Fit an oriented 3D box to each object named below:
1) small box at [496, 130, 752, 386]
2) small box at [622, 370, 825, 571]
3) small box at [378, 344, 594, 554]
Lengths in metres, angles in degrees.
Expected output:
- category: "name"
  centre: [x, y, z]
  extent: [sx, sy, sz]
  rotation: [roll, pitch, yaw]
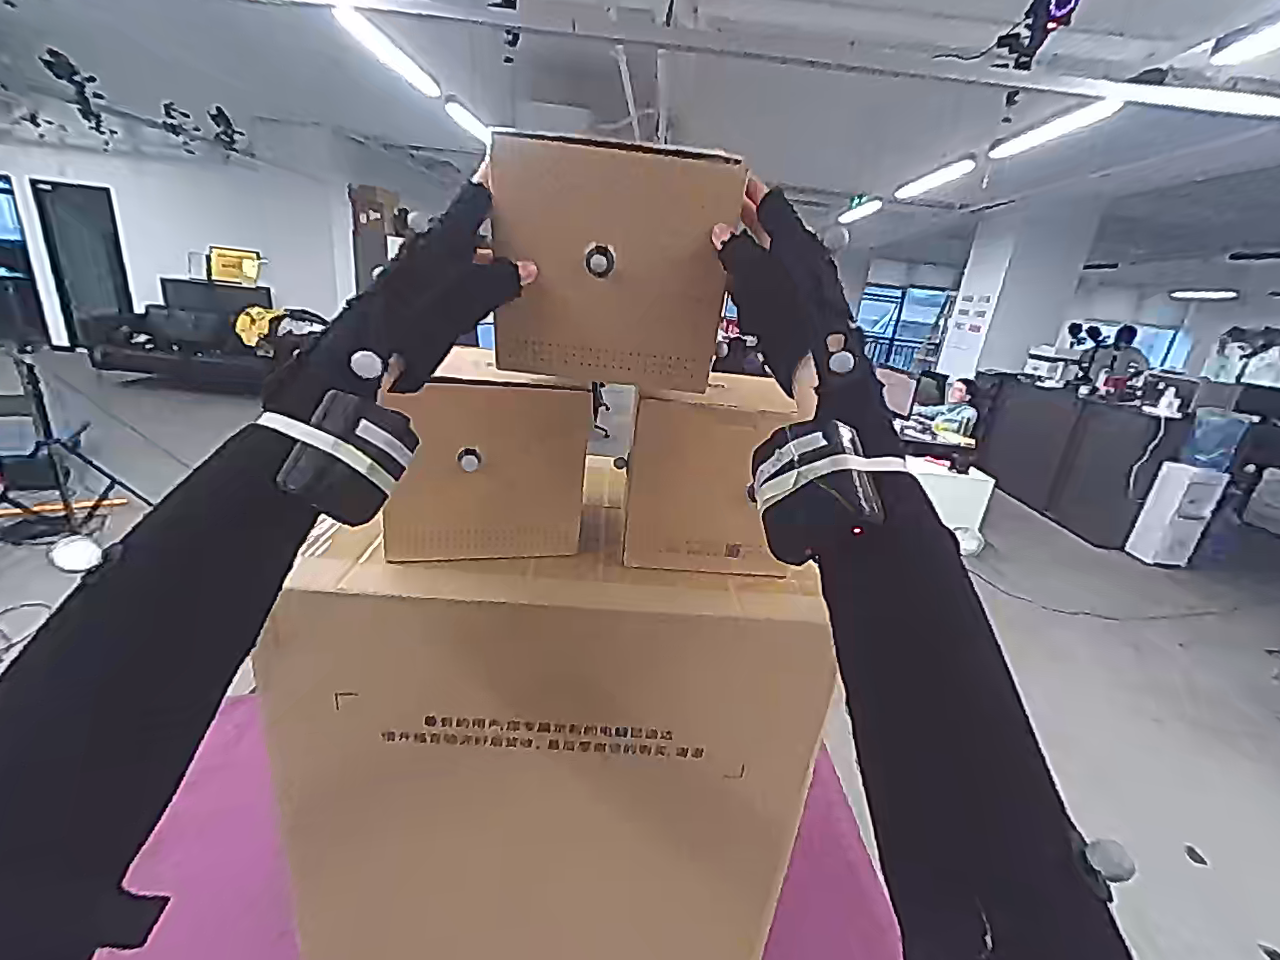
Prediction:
- category: "small box"
  centre: [-0.016, -0.191, 0.468]
  extent: [0.179, 0.176, 0.168]
  rotation: [6, 30, -2]
- category: "small box"
  centre: [0.072, -0.019, 0.569]
  extent: [0.168, 0.176, 0.179]
  rotation: [5, 19, -5]
- category: "small box"
  centre: [-0.150, -0.035, 0.541]
  extent: [0.179, 0.176, 0.168]
  rotation: [1, 22, -18]
